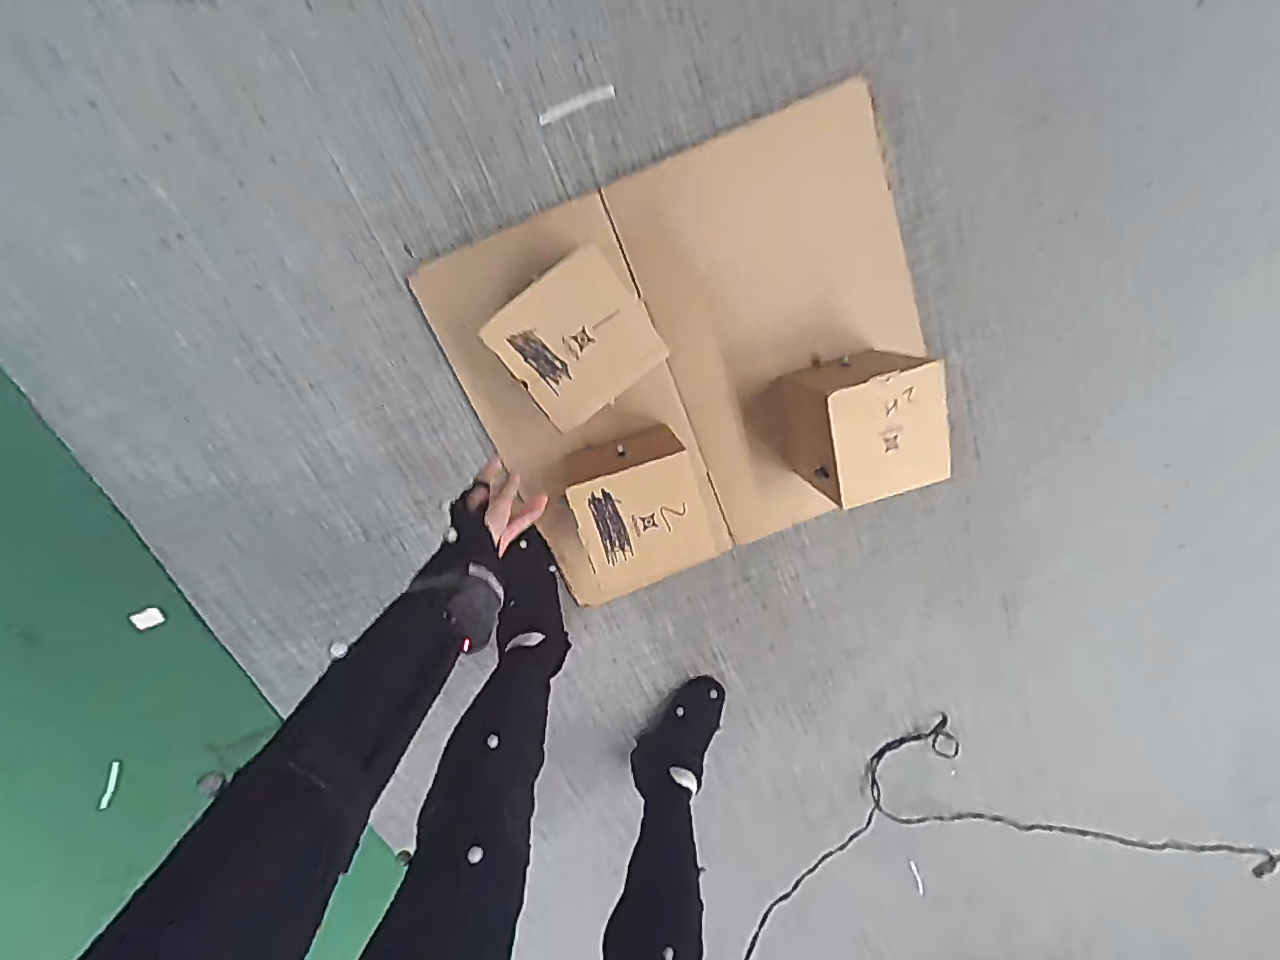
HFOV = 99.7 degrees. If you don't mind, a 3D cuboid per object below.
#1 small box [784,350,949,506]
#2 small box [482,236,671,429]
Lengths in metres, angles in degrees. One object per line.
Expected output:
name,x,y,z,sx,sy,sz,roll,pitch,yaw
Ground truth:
small box,0.333,-0.086,0.816,0.168,0.176,0.179,-16,109,-2
small box,-0.083,-0.197,0.735,0.179,0.176,0.168,-37,108,4
